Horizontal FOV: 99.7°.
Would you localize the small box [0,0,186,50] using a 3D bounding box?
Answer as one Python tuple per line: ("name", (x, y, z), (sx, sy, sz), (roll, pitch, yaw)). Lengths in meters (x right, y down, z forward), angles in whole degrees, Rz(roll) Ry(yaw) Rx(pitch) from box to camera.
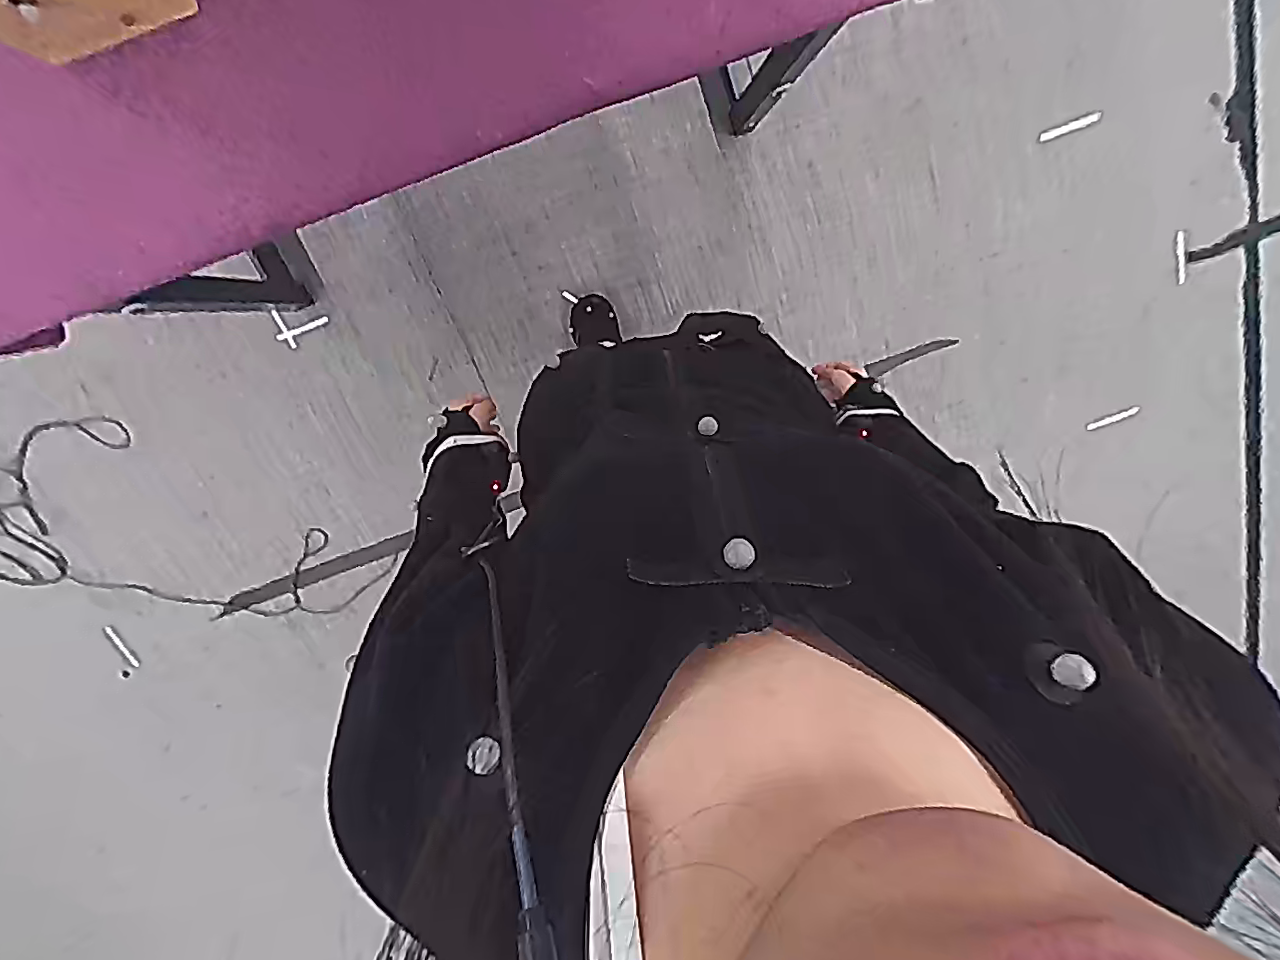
("small box", (-0.553, -0.508, 0.457), (0.168, 0.176, 0.179), (-20, 108, 2))
